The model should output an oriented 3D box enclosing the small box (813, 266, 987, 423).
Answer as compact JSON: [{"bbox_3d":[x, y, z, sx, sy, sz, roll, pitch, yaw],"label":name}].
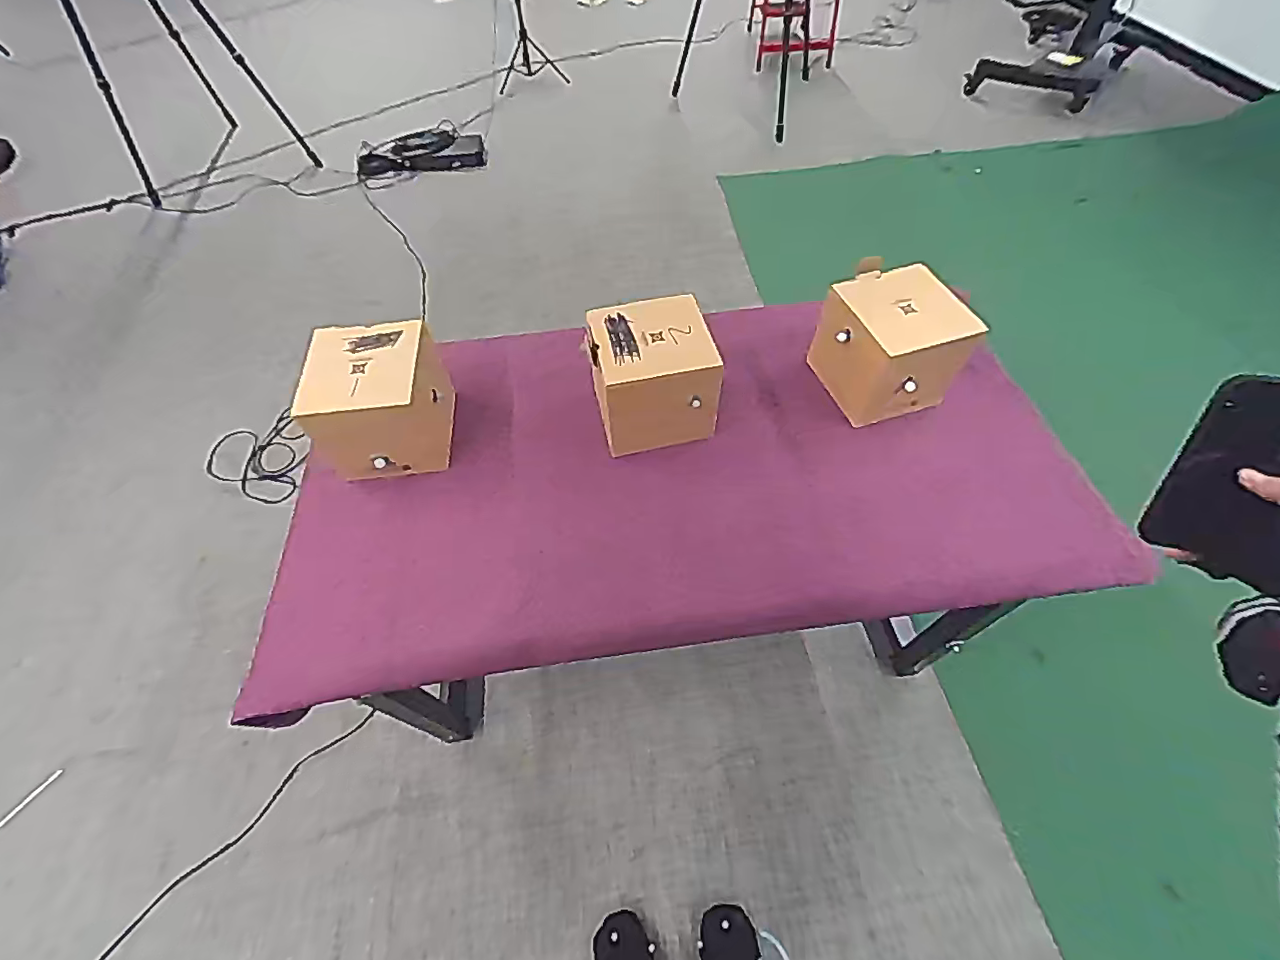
[{"bbox_3d":[0.409,-0.213,0.886,0.168,0.176,0.179,-16,57,-8],"label":"small box"}]

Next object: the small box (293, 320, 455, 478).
[{"bbox_3d":[-0.400,-0.124,0.850,0.168,0.176,0.179,-6,58,-2],"label":"small box"}]
